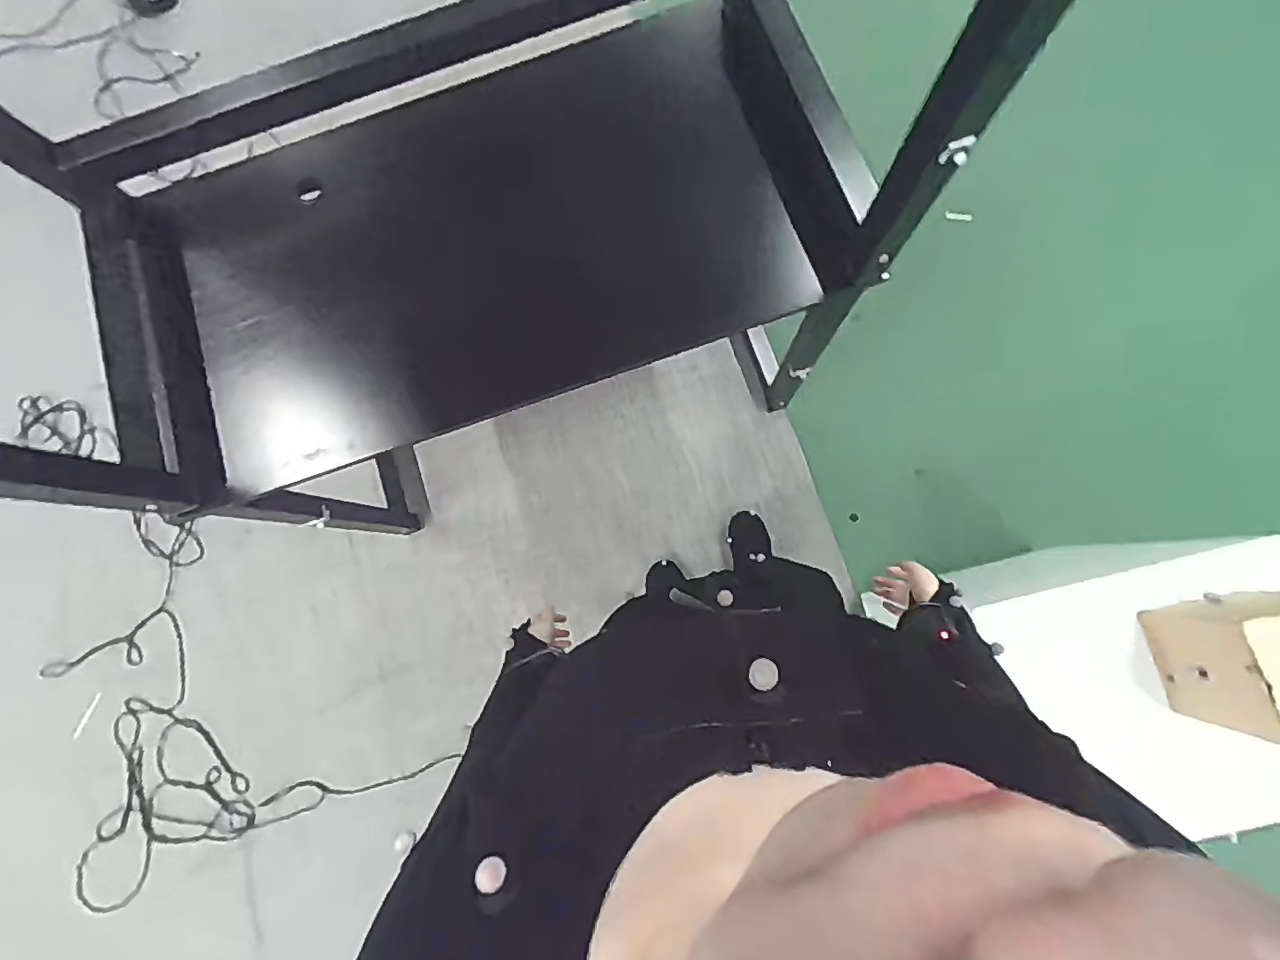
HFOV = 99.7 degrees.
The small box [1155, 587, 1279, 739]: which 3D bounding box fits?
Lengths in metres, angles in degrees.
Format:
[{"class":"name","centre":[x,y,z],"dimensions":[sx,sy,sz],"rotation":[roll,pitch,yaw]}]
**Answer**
[{"class":"small box","centre":[0.886,0.250,0.756],"dimensions":[0.179,0.176,0.168],"rotation":[-14,81,3]}]
